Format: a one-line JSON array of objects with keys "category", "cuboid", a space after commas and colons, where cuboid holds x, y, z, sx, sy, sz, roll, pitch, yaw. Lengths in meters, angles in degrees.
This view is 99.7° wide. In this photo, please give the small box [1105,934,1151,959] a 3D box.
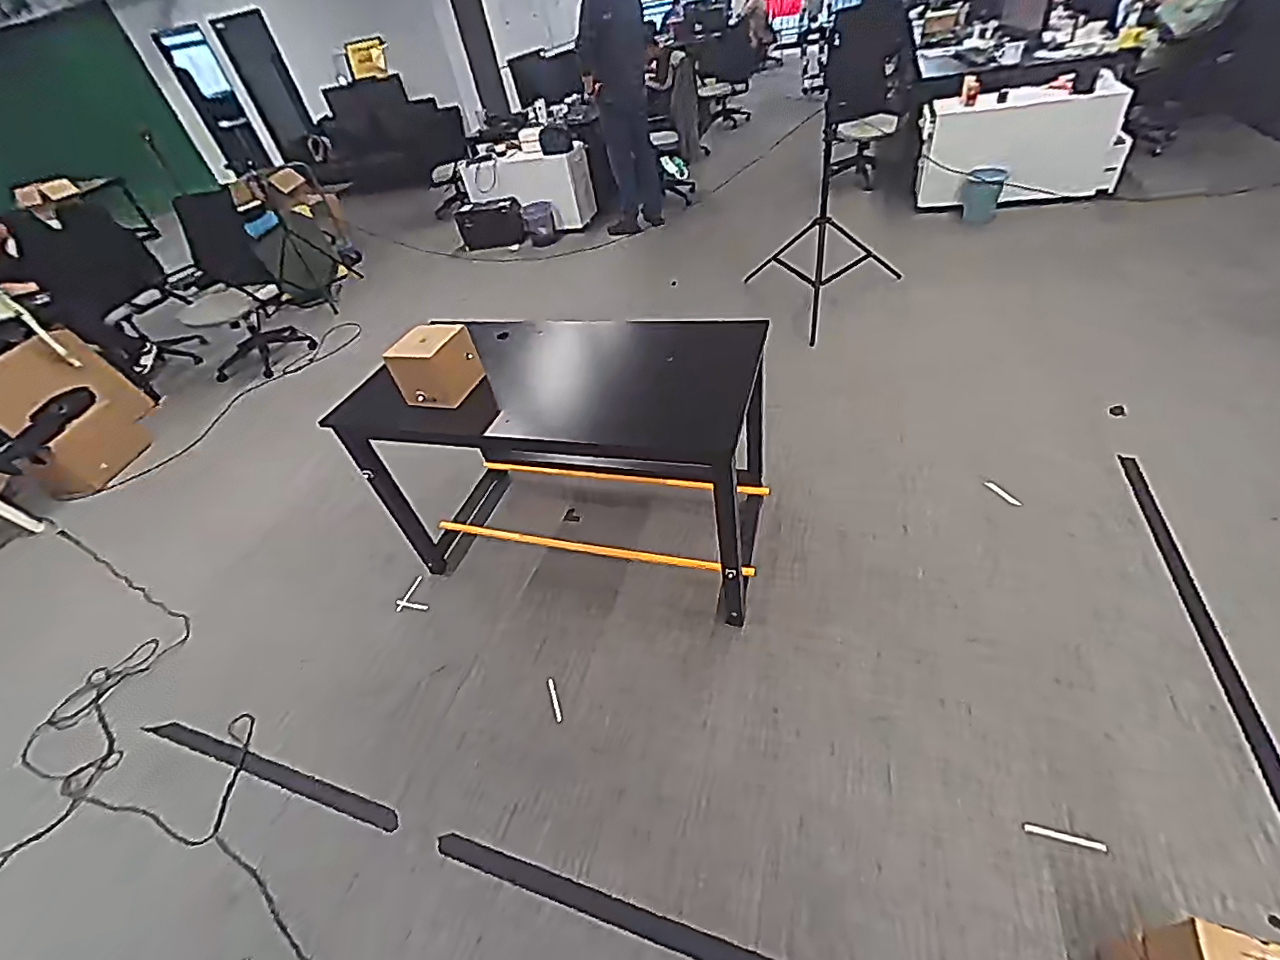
[{"category": "small box", "cuboid": [0.928, 0.917, 0.914, 0.179, 0.176, 0.168, 7, 45, 21]}]

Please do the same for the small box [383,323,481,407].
[{"category": "small box", "cuboid": [-0.574, -0.326, 1.524, 0.168, 0.176, 0.179, 5, 45, 19]}]

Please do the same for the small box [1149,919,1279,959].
[{"category": "small box", "cuboid": [0.908, 0.799, 0.799, 0.168, 0.176, 0.179, 7, 46, 20]}]
